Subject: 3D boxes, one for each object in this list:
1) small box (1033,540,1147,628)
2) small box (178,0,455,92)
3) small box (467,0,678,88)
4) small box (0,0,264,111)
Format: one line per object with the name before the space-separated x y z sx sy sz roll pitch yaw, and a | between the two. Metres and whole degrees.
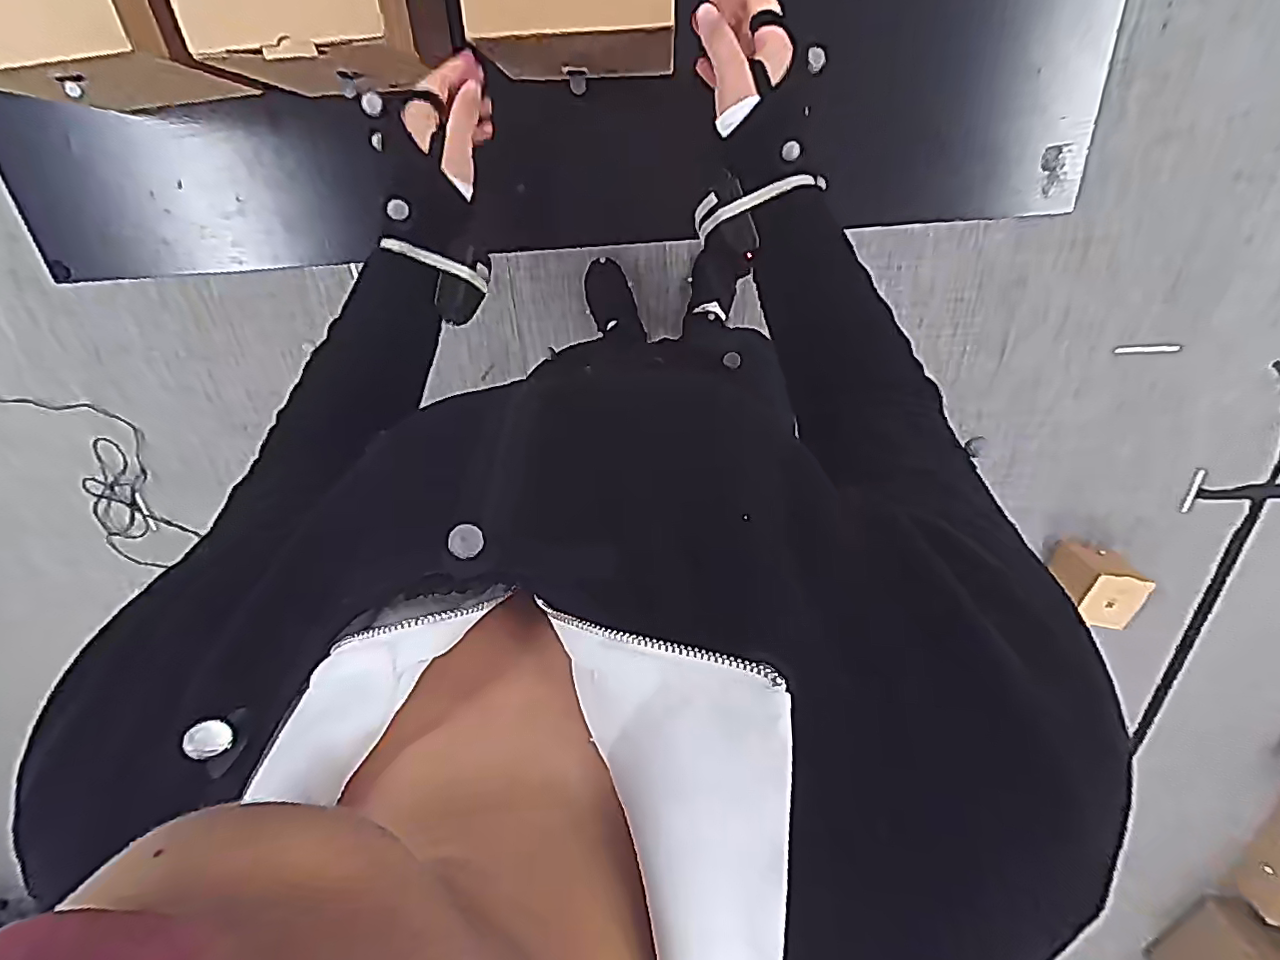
small box | 1.320 0.306 1.606 0.168 0.176 0.179 10 117 -3
small box | -0.278 -0.455 0.470 0.168 0.176 0.179 -1 117 3
small box | -0.052 -0.461 0.462 0.168 0.176 0.179 -1 117 4
small box | -0.493 -0.446 0.481 0.179 0.176 0.168 -5 116 3
